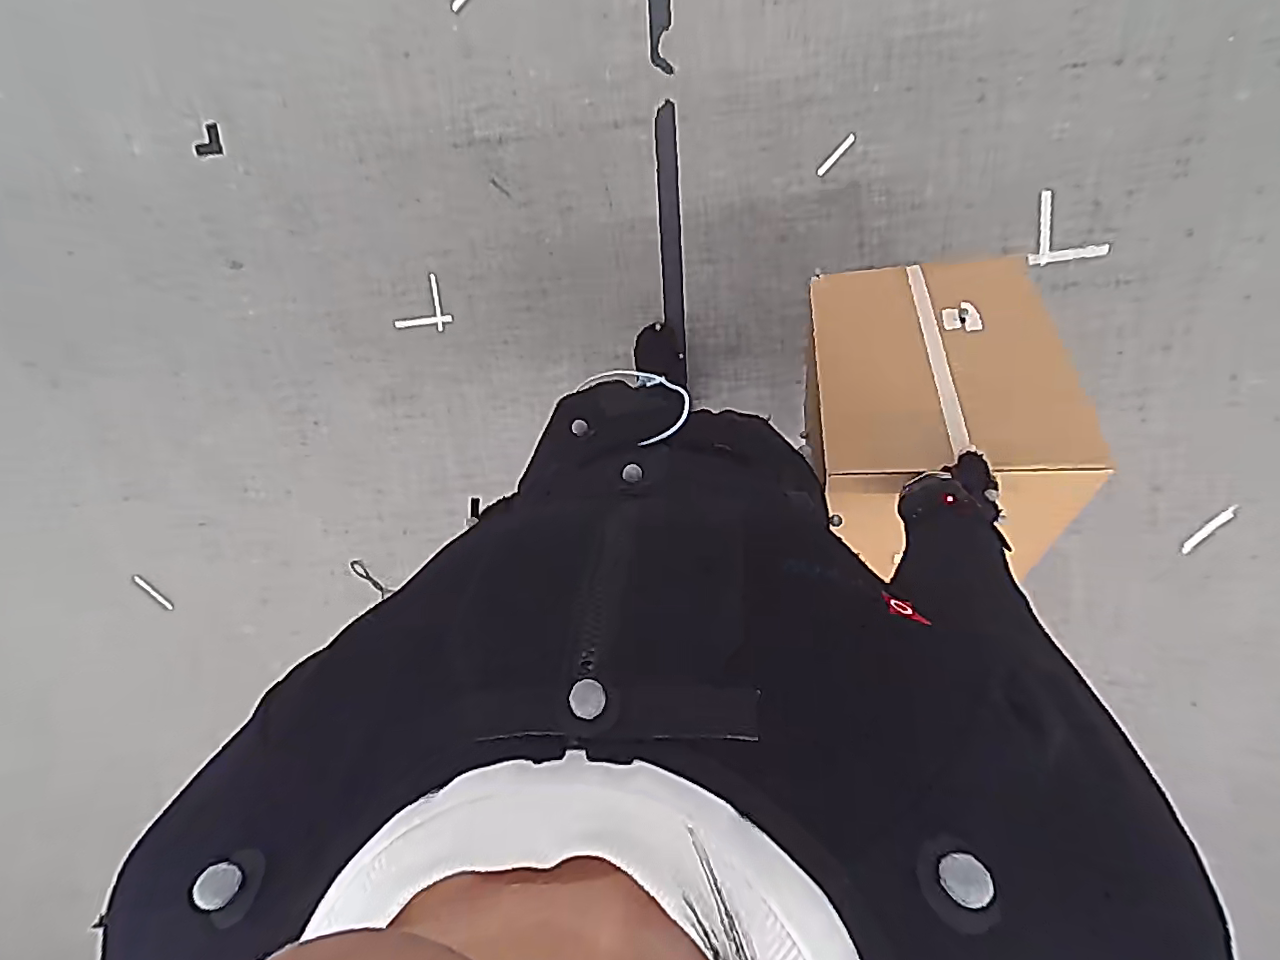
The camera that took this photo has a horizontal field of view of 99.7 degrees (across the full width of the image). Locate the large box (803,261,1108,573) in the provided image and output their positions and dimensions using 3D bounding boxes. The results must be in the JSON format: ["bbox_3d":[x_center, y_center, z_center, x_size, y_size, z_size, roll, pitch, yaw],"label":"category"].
[{"bbox_3d":[0.443,-0.091,0.884,0.320,0.408,0.320,-1,144,12],"label":"large box"}]
